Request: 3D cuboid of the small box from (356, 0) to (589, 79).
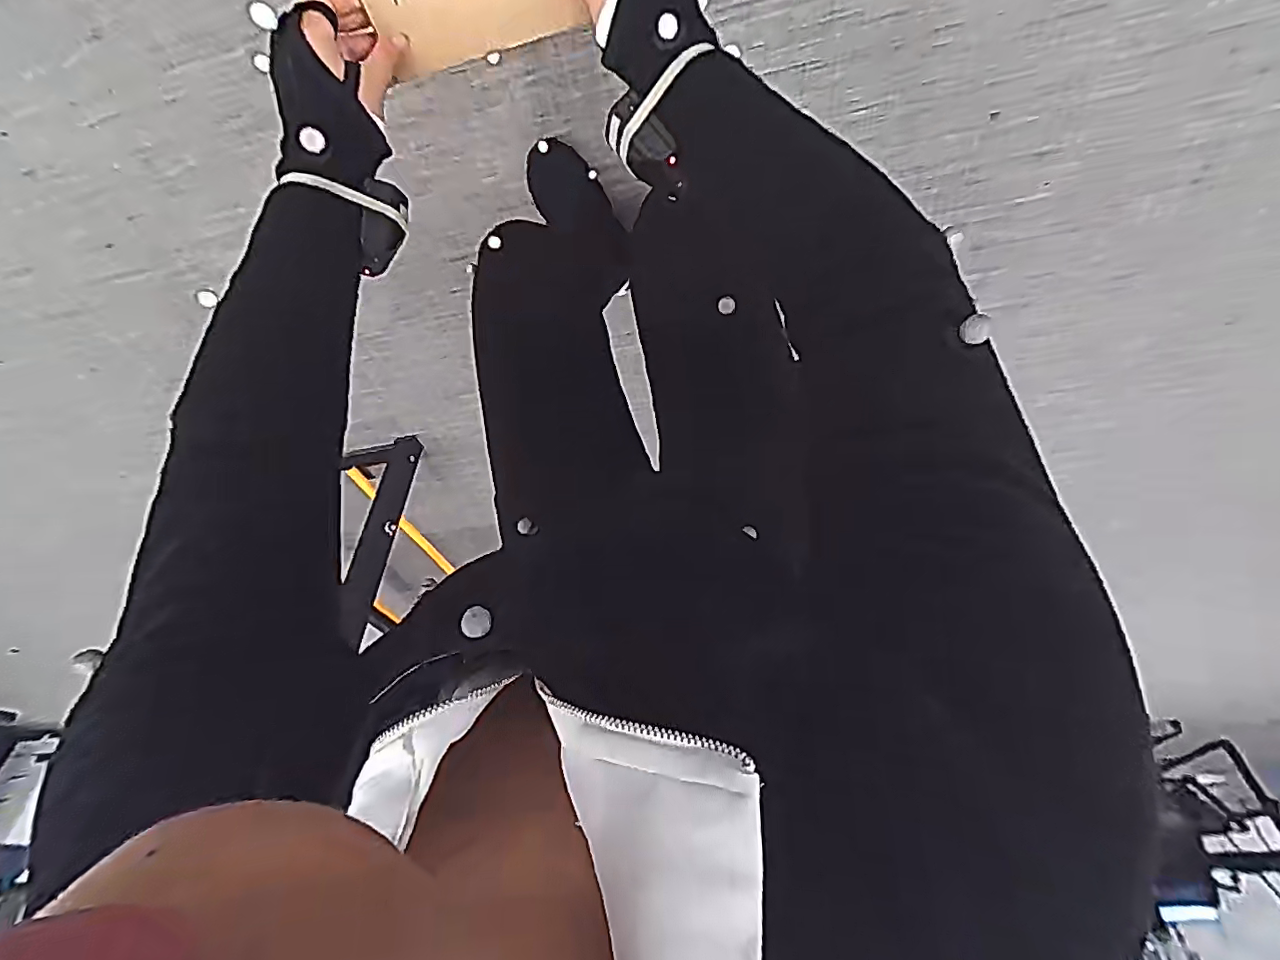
[{"bbox_3d":[-0.137,-0.455,0.425,0.179,0.176,0.168,-8,140,11],"label":"small box"}]
